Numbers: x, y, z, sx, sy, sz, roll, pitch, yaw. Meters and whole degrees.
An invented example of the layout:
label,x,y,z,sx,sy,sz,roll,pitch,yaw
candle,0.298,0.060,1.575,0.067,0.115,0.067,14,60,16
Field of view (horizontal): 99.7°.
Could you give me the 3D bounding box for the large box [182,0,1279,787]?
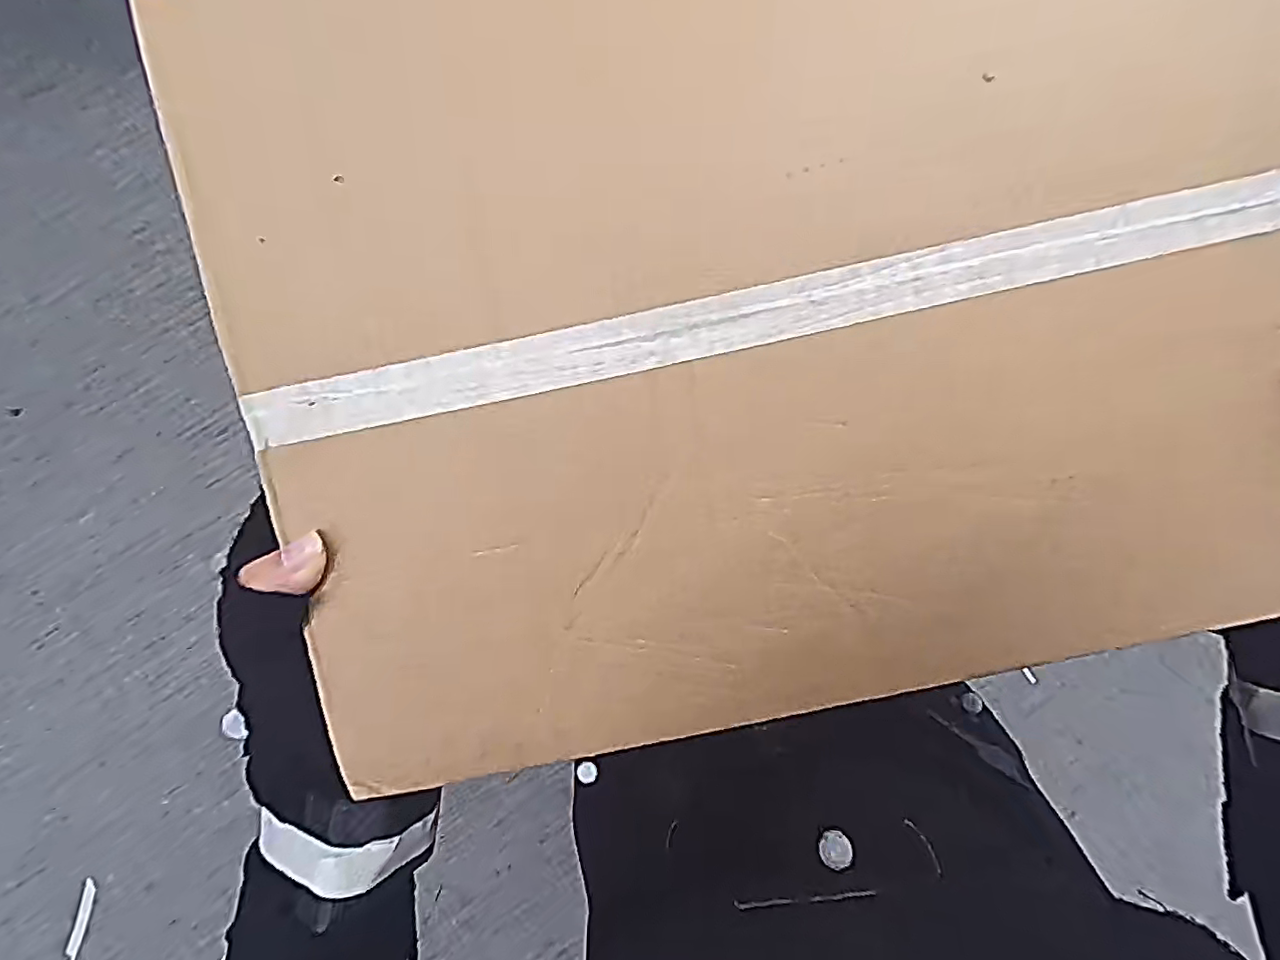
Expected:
label,x,y,z,sx,sy,sz,roll,pitch,yaw
large box,0.051,-0.074,0.363,0.408,0.320,0.320,-12,94,1
